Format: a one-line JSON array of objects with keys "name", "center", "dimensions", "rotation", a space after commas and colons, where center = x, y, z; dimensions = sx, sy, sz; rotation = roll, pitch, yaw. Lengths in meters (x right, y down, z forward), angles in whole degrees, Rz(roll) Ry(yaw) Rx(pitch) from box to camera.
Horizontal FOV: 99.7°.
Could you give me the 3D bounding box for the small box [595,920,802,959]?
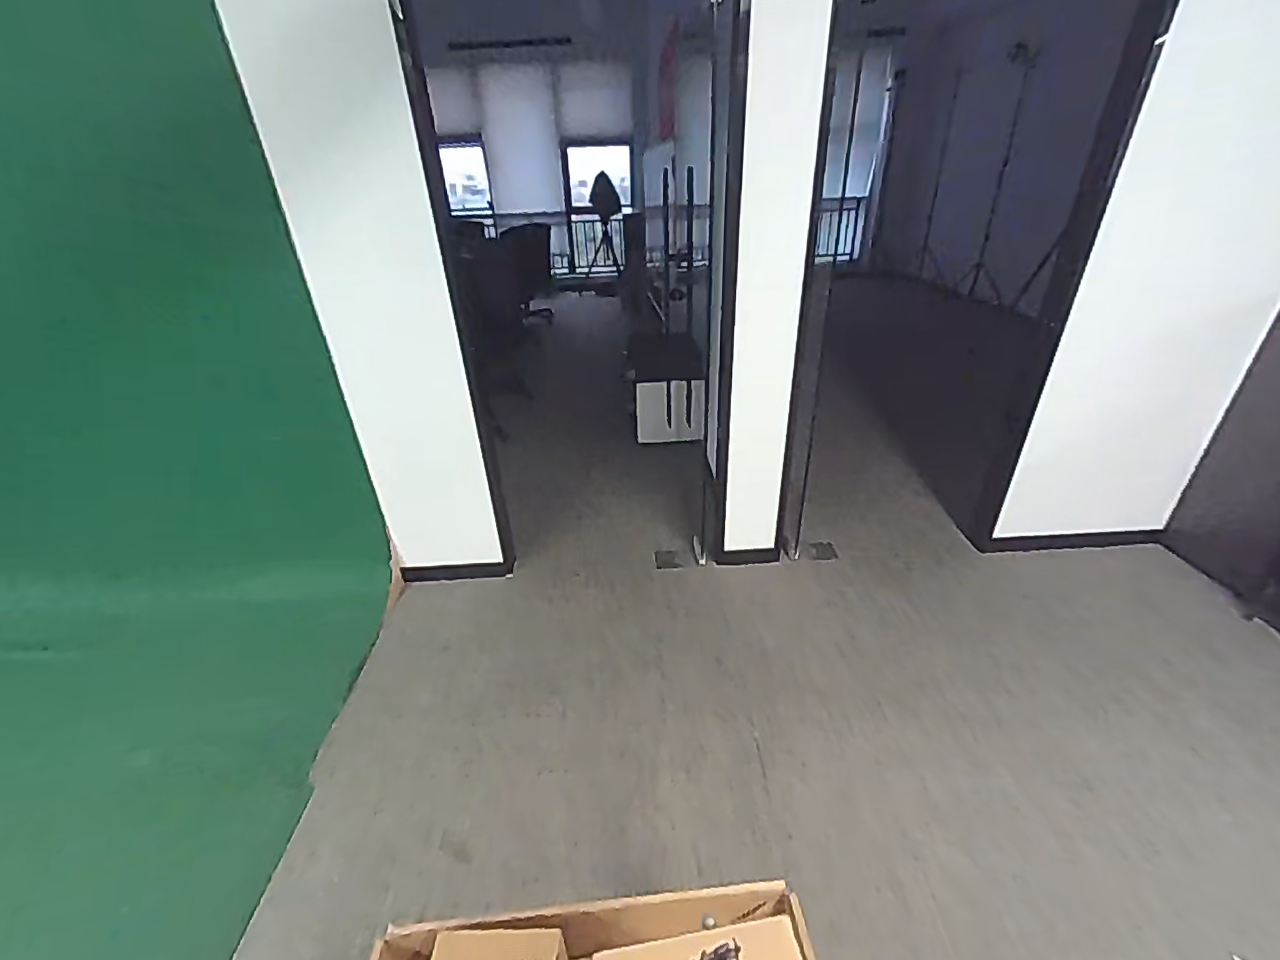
[{"name": "small box", "center": [0.058, 0.485, 0.422], "dimensions": [0.168, 0.176, 0.179], "rotation": [-6, 39, -6]}]
